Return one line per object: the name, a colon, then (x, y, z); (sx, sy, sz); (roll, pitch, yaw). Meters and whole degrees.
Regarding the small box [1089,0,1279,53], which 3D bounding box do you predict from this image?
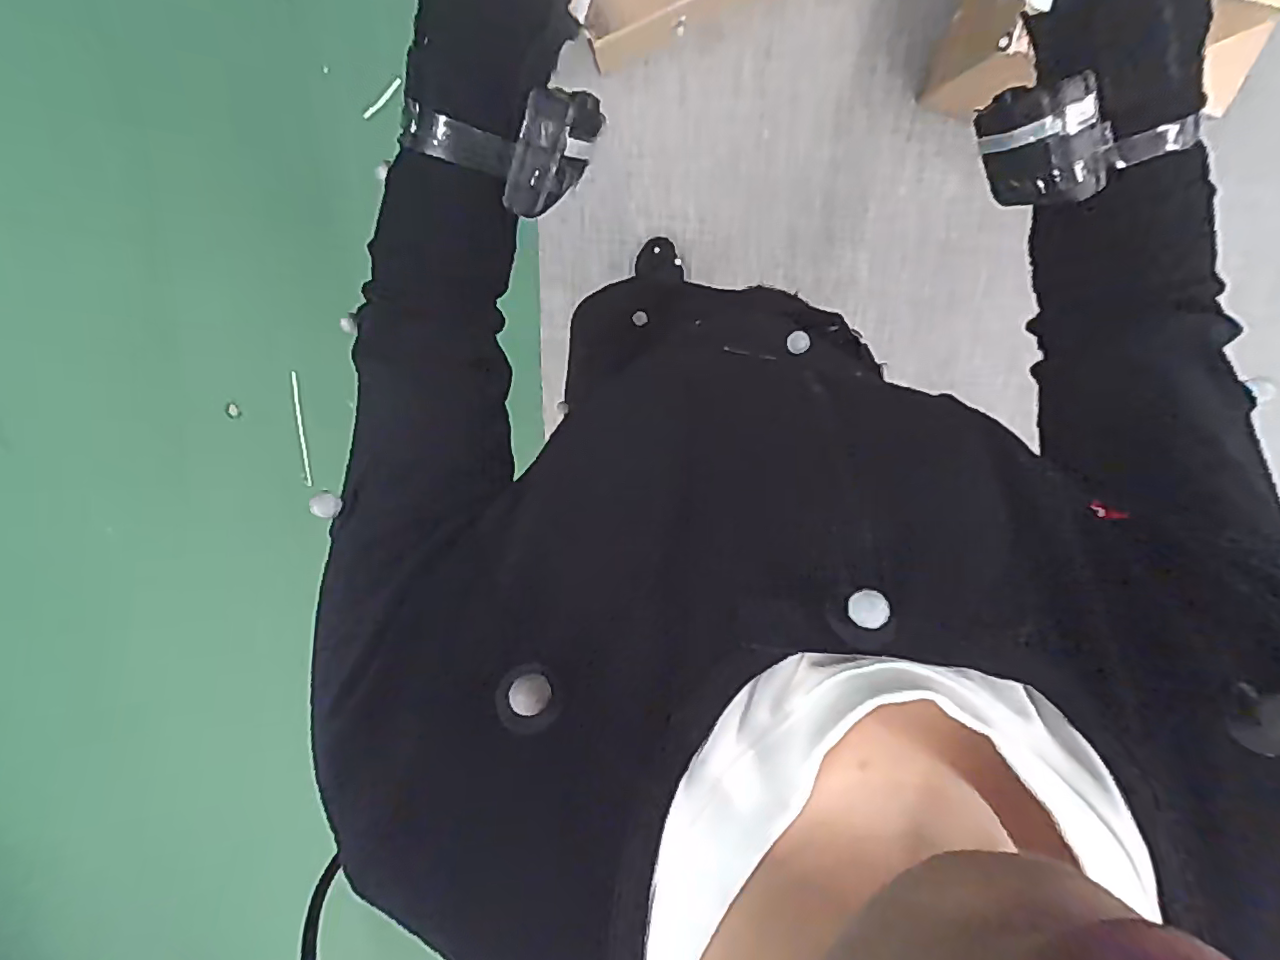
small box: (0.814, -0.752, 0.777); (0.179, 0.176, 0.168); (10, 111, -1)
